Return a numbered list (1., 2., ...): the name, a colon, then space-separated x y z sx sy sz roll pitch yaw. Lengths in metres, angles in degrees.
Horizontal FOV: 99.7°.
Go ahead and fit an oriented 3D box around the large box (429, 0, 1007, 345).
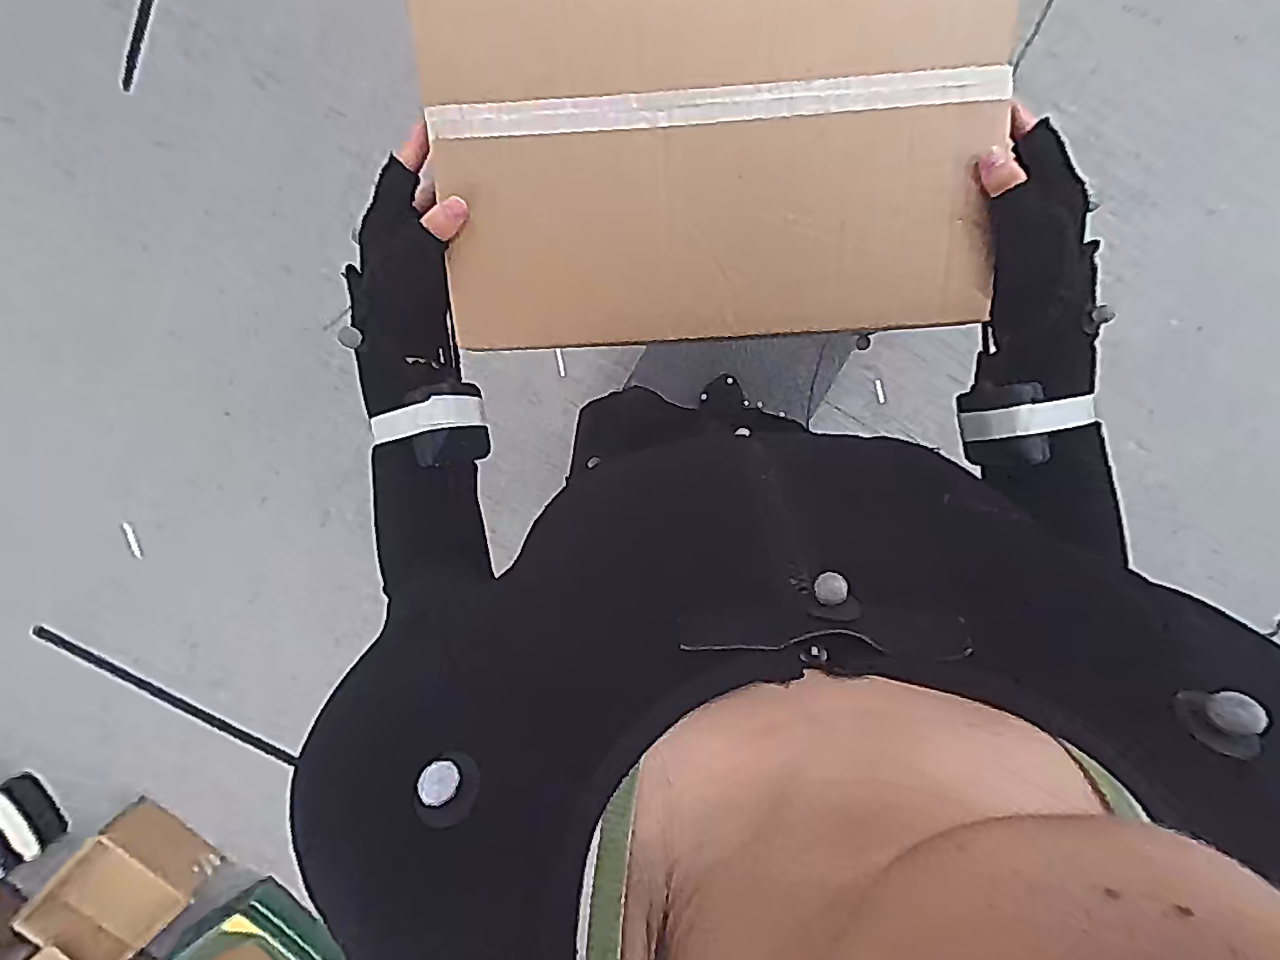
1. large box: 0.059 -0.305 0.532 0.408 0.320 0.320 -2 104 1
